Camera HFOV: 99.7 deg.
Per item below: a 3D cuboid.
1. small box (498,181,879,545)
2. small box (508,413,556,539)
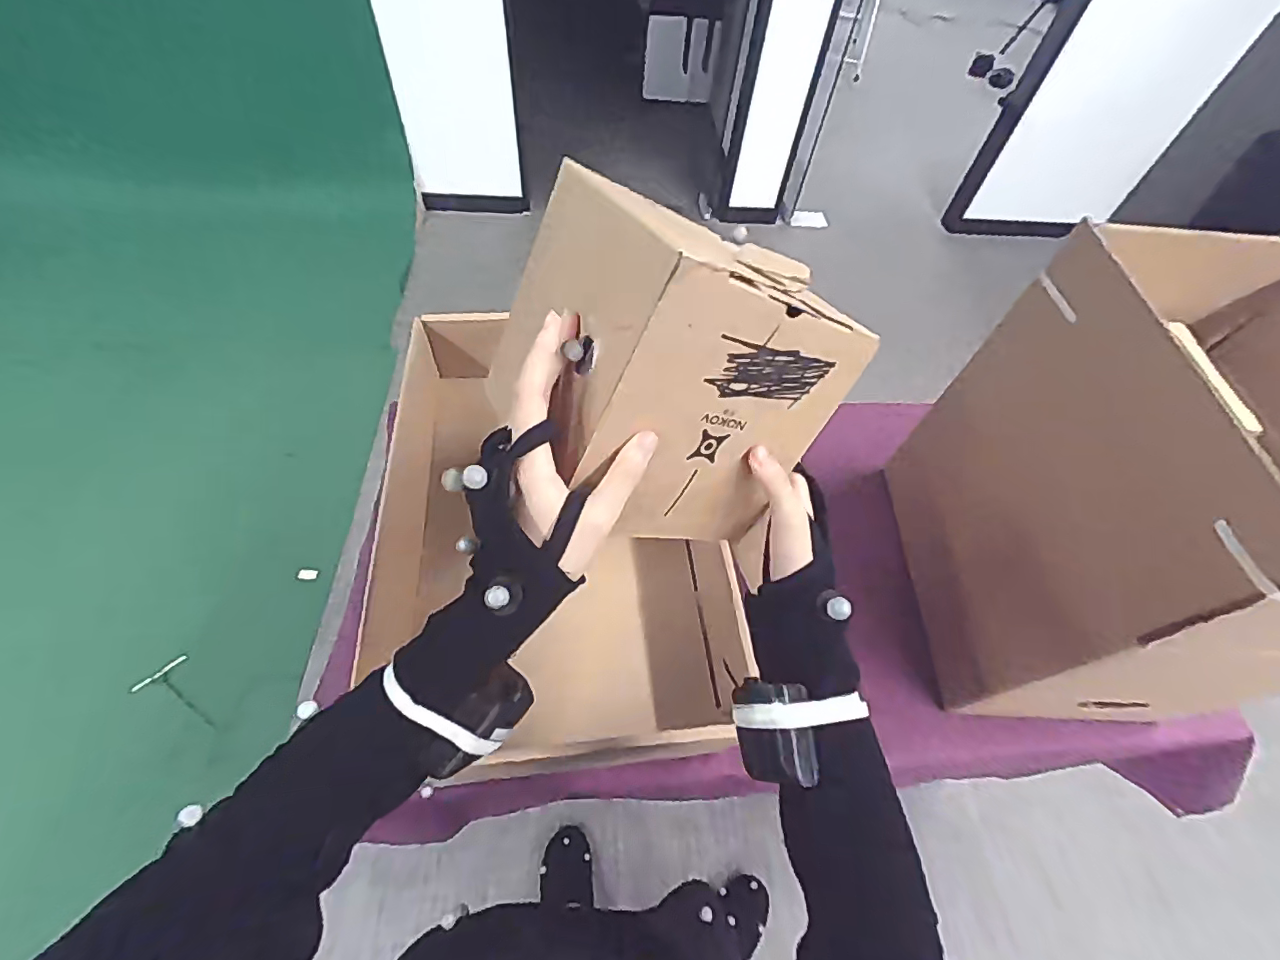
[{"bbox_3d":[0.015,-0.075,0.379,0.168,0.179,0.176,6,38,-36],"label":"small box"},{"bbox_3d":[-0.086,-0.029,0.748,0.168,0.176,0.179,-6,57,-7],"label":"small box"}]
